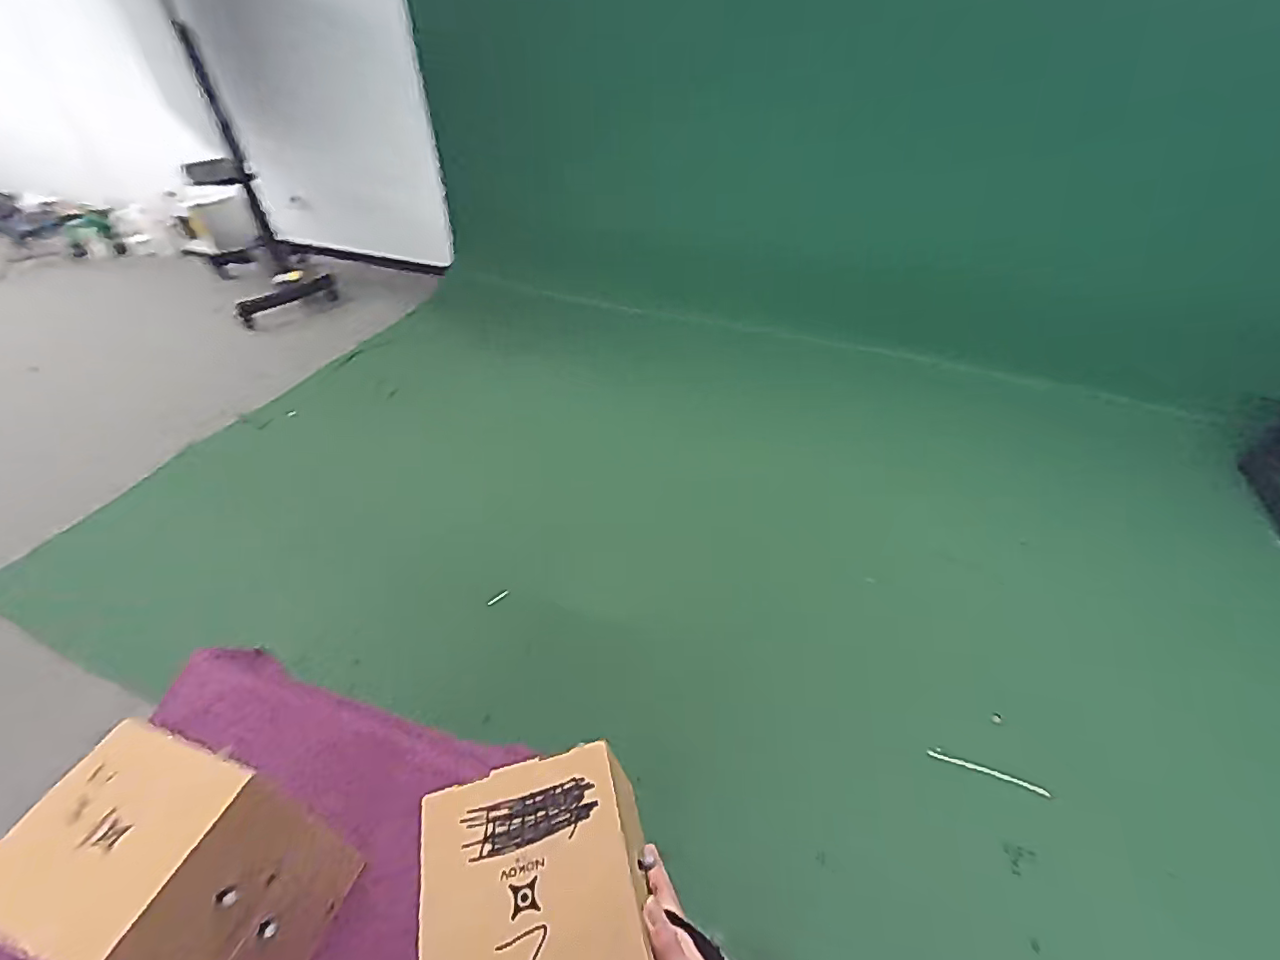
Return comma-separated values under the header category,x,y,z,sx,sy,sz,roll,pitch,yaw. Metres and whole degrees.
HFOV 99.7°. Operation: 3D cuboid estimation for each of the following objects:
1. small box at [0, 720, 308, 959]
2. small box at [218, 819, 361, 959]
category,x,y,z,sx,sy,sz,roll,pitch,yaw
small box,-0.486,0.381,0.546,0.179,0.176,0.168,13,43,14
small box,-0.487,0.504,0.658,0.179,0.176,0.168,12,44,13
